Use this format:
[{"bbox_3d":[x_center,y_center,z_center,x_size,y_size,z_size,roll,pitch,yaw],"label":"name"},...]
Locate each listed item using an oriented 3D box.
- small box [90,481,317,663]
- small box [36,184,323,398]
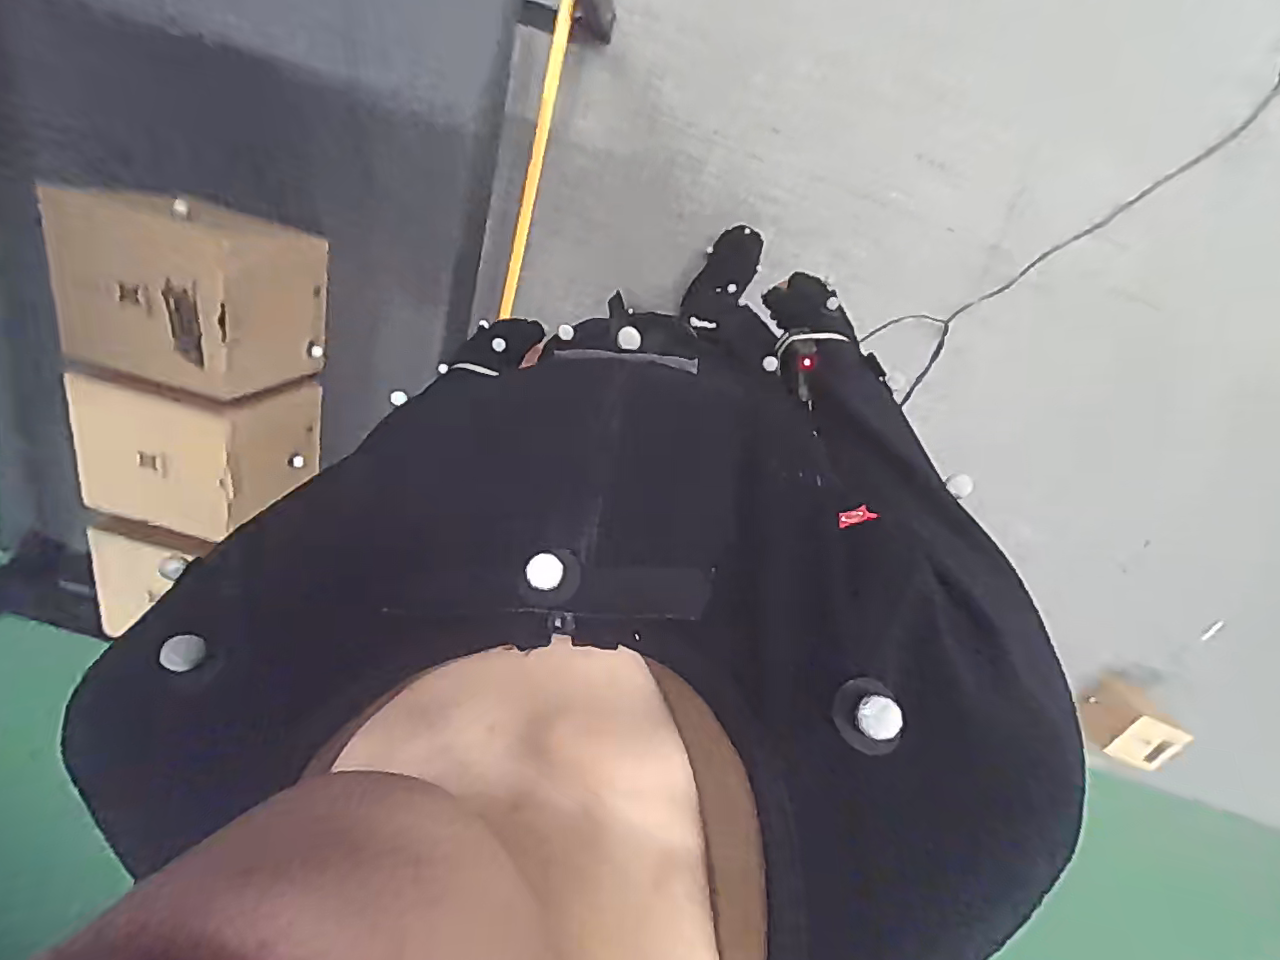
[{"bbox_3d":[-0.590,0.117,0.753,0.179,0.176,0.168,16,114,-2],"label":"small box"},{"bbox_3d":[-0.488,-0.212,0.606,0.179,0.176,0.168,16,113,-1],"label":"small box"}]
